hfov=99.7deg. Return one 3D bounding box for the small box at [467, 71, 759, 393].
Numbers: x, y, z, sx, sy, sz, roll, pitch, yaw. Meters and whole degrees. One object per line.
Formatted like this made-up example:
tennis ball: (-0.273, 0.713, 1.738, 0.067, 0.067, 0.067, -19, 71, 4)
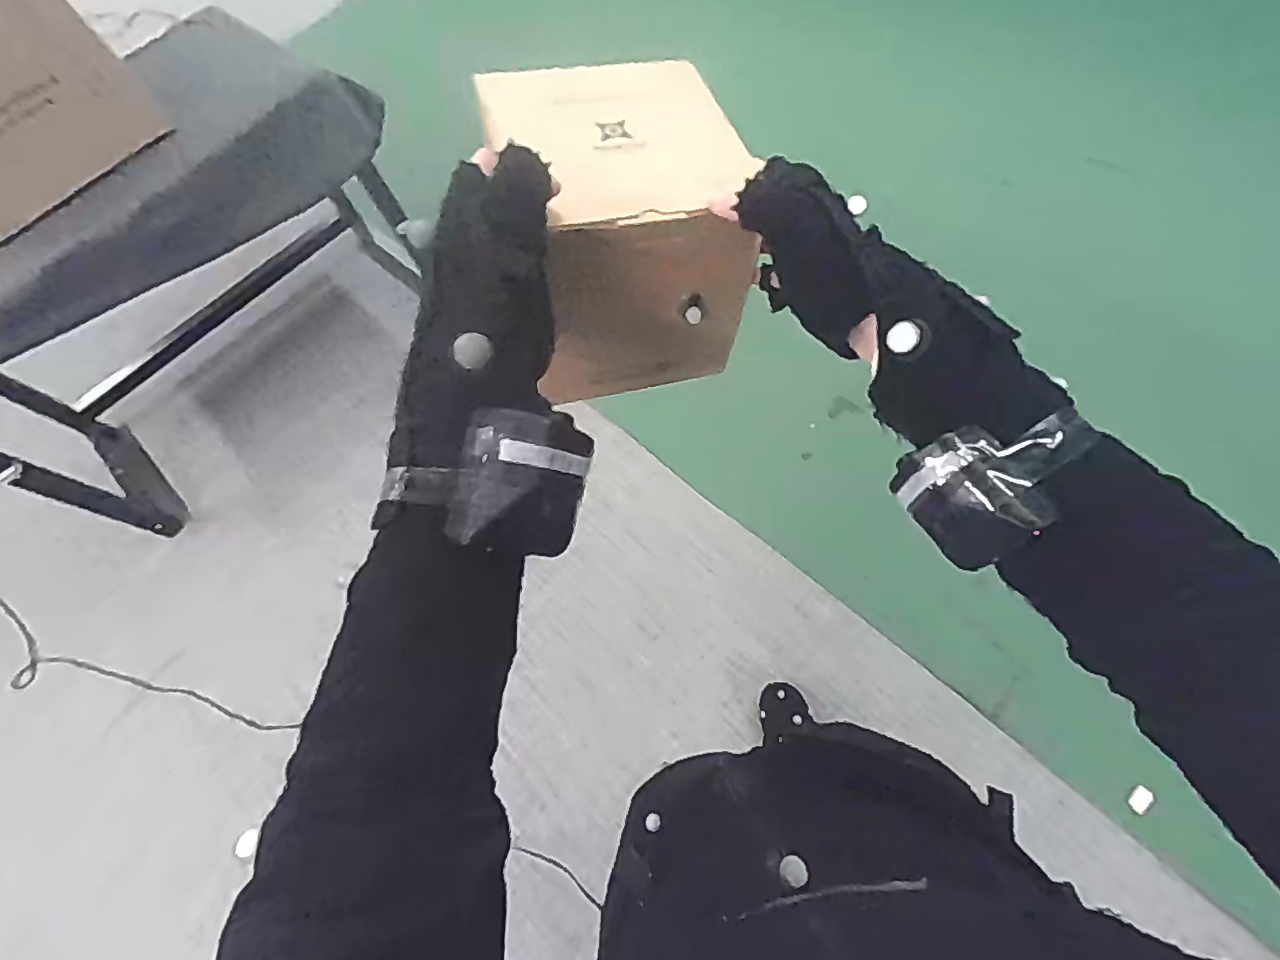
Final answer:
small box: (-0.029, -0.188, 0.435, 0.168, 0.176, 0.179, -13, 61, -13)
